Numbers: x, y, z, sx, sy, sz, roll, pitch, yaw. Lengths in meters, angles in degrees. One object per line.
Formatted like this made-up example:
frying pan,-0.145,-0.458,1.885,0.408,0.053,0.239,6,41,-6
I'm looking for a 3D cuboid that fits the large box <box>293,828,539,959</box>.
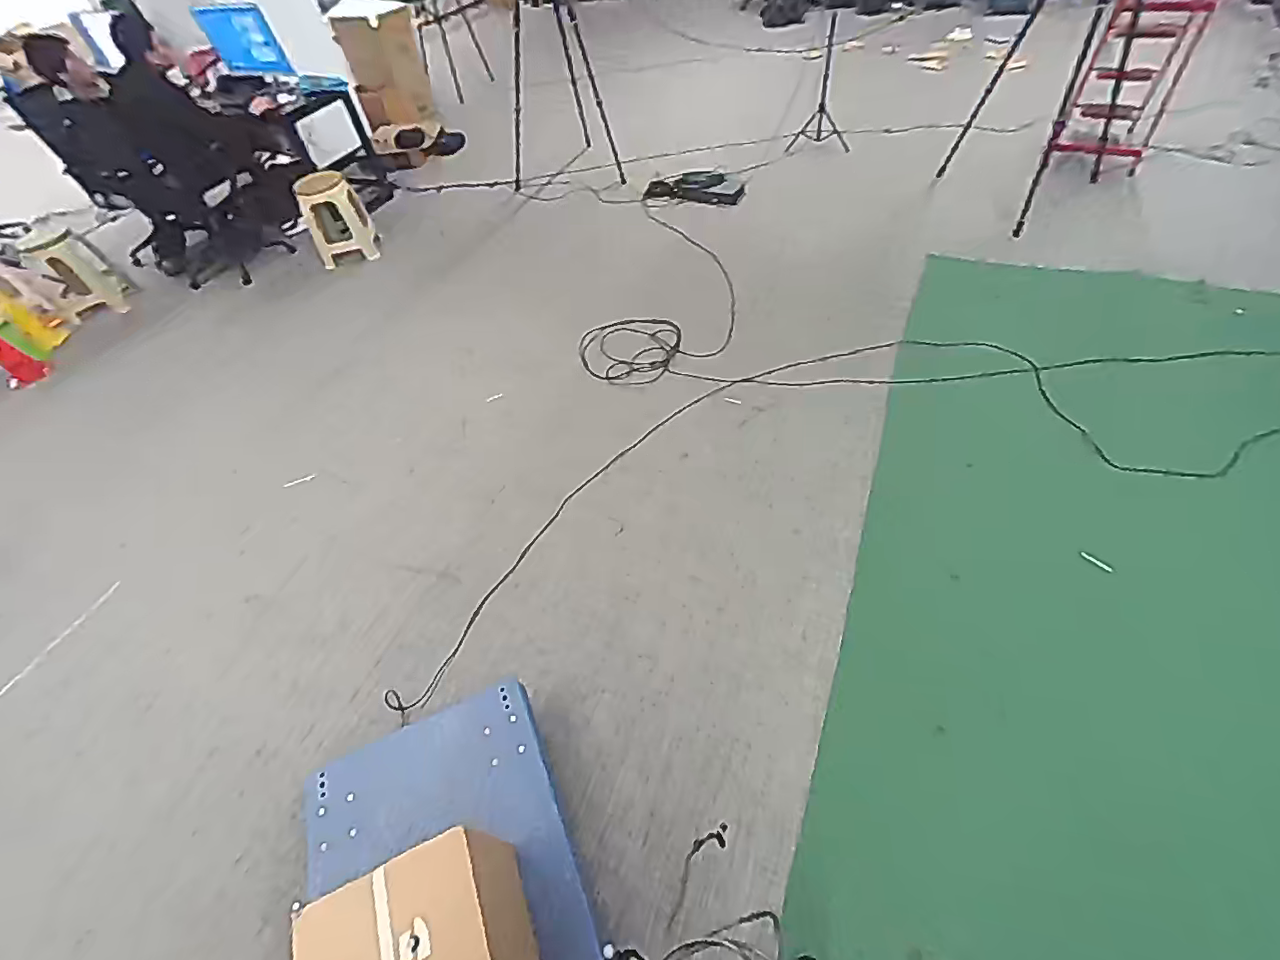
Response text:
large box,-0.365,0.925,0.961,0.320,0.320,0.408,-23,50,-11
